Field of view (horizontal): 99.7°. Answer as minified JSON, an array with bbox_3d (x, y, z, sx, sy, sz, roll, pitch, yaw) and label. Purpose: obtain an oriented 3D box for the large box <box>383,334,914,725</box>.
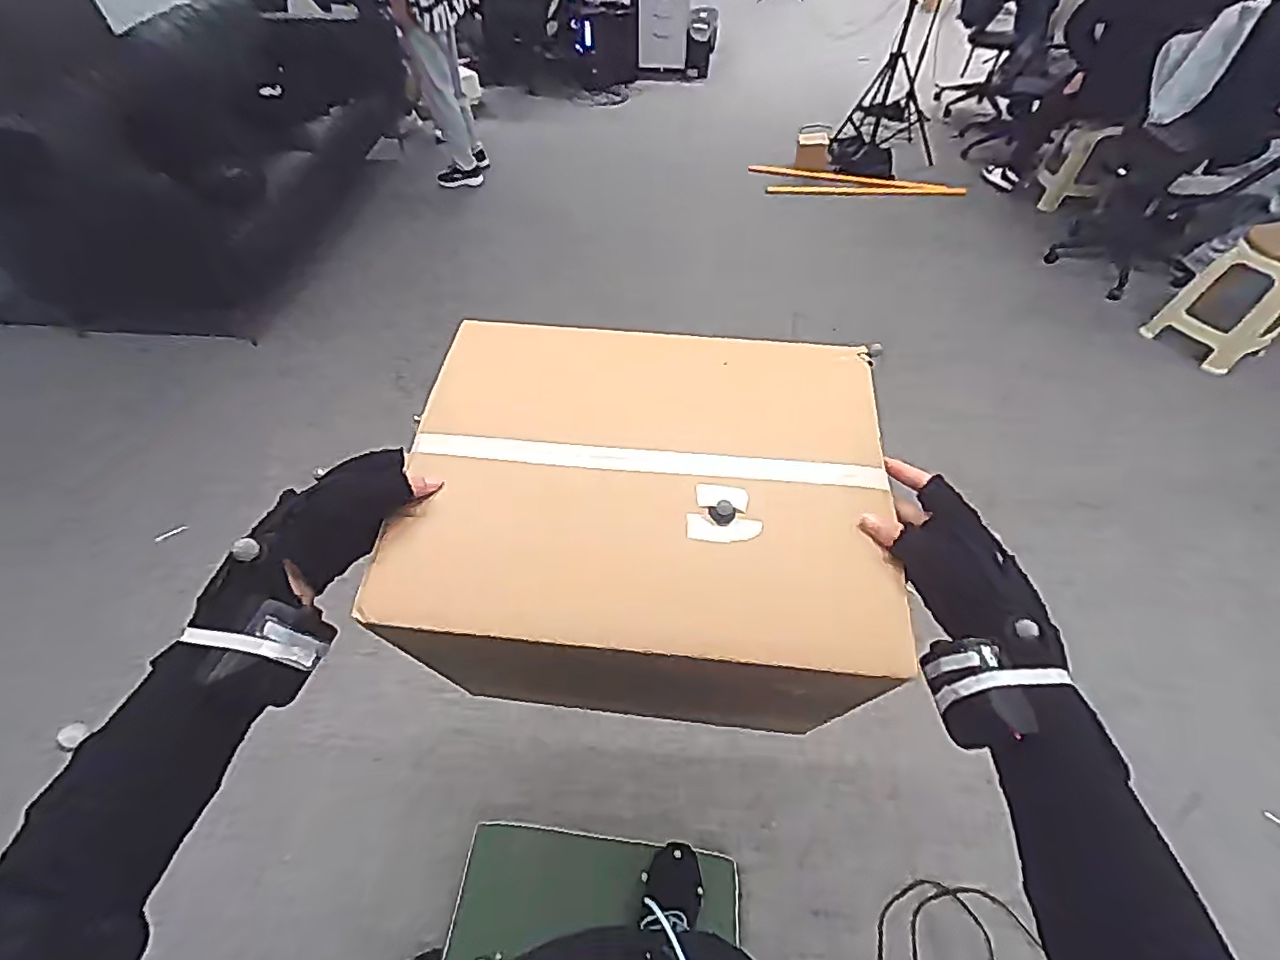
[{"bbox_3d":[0.012,0.069,0.601,0.408,0.320,0.320,5,59,3],"label":"large box"}]
